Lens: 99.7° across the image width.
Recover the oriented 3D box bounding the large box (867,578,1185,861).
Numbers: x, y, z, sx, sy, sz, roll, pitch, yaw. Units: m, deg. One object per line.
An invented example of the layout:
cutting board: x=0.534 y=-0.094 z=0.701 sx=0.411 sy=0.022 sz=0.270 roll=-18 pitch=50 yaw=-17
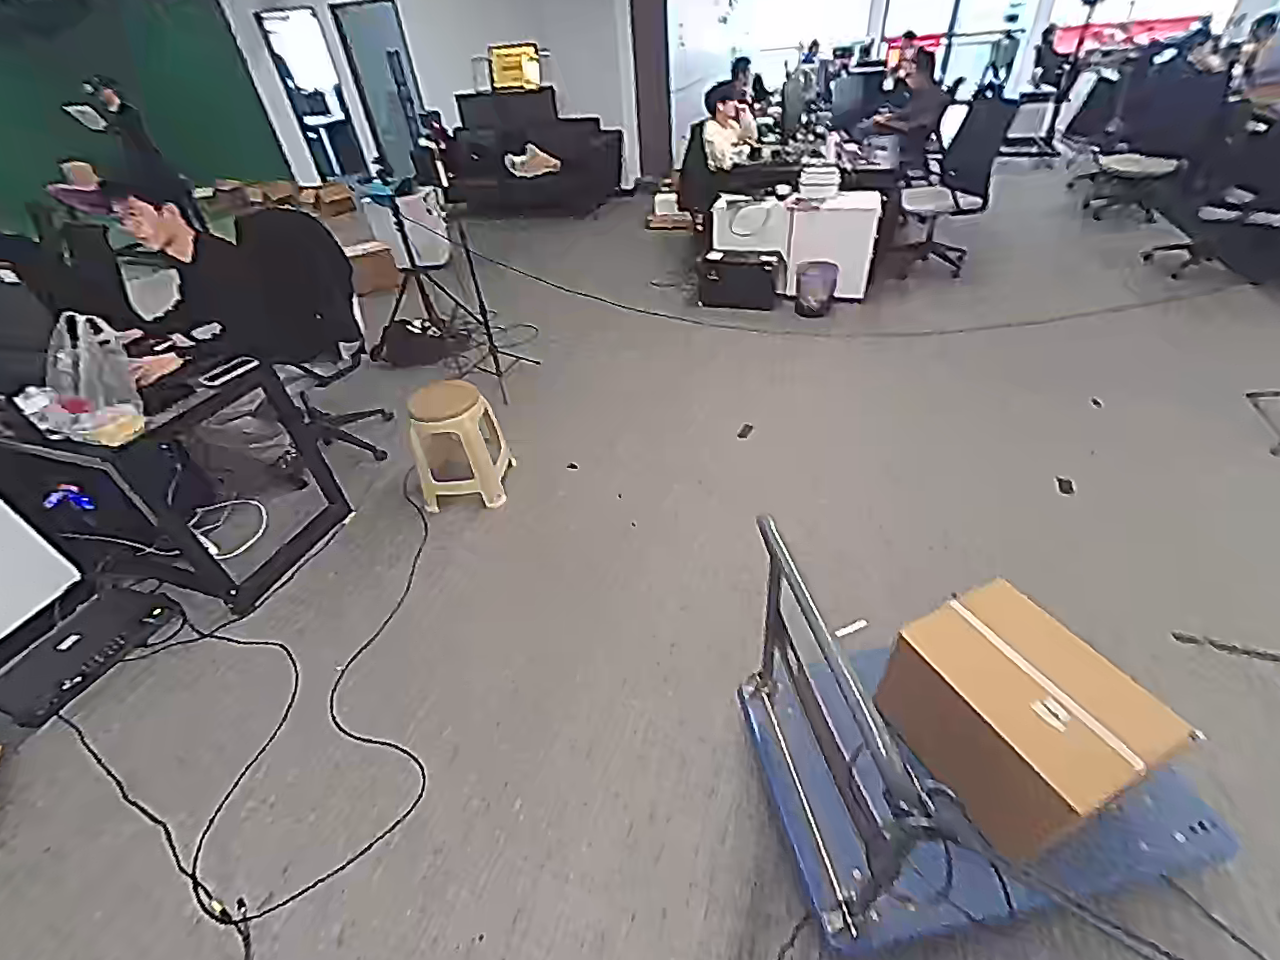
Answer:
large box: x=0.777 y=0.497 z=1.169 sx=0.320 sy=0.320 sz=0.408 roll=-20 pitch=43 yaw=-16
